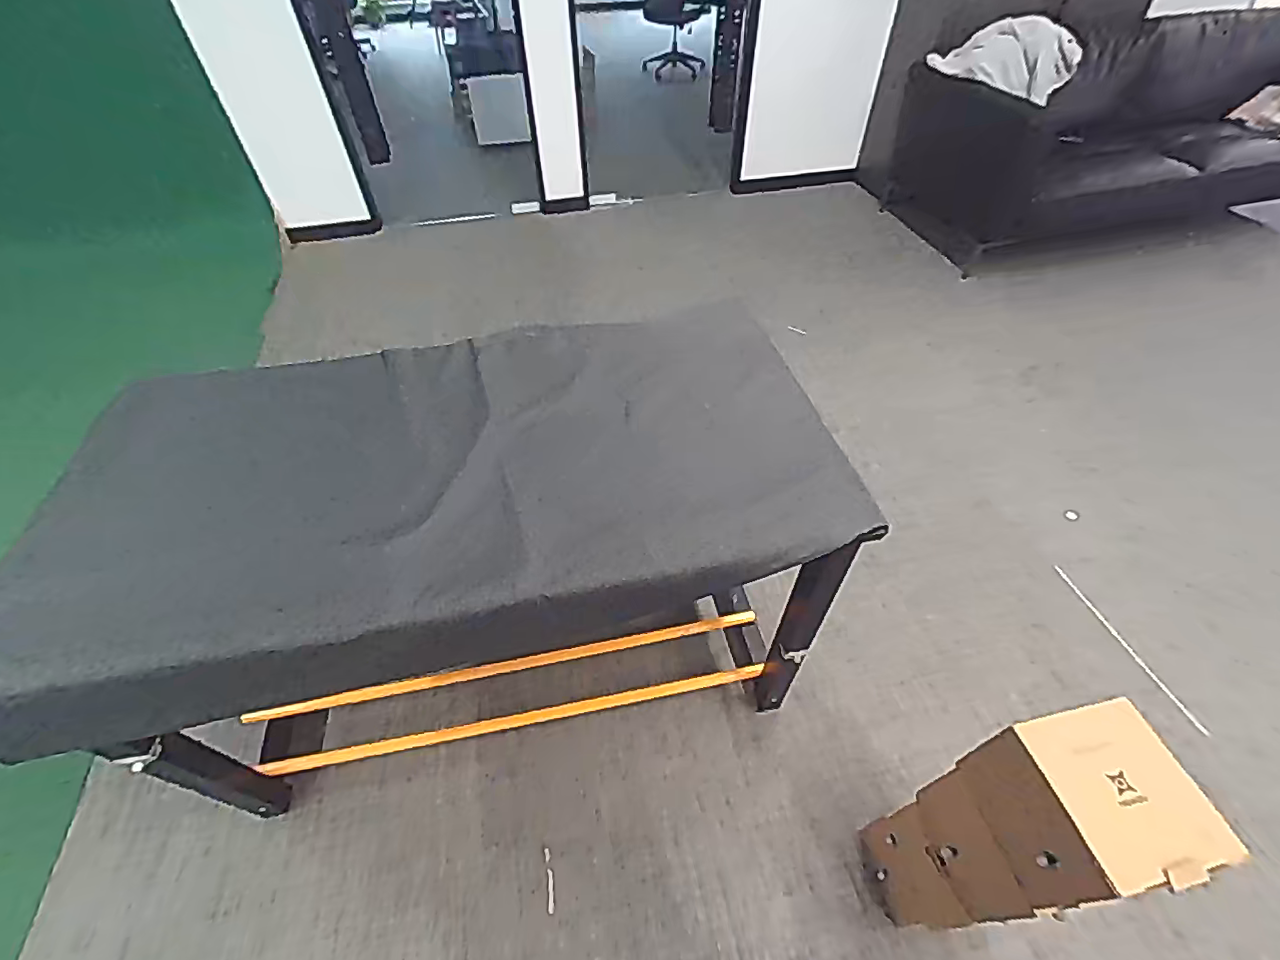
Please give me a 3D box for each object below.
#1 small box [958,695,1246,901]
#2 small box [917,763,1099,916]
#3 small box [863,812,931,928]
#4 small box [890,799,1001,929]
[{"bbox_3d":[0.547,0.400,0.675,0.168,0.176,0.179,-10,48,-8],"label":"small box"},{"bbox_3d":[0.549,0.512,0.792,0.168,0.176,0.179,-9,49,-8],"label":"small box"},{"bbox_3d":[0.562,0.733,1.035,0.179,0.176,0.168,-8,48,-8],"label":"small box"},{"bbox_3d":[0.549,0.628,0.909,0.179,0.176,0.168,-10,49,-9],"label":"small box"}]
